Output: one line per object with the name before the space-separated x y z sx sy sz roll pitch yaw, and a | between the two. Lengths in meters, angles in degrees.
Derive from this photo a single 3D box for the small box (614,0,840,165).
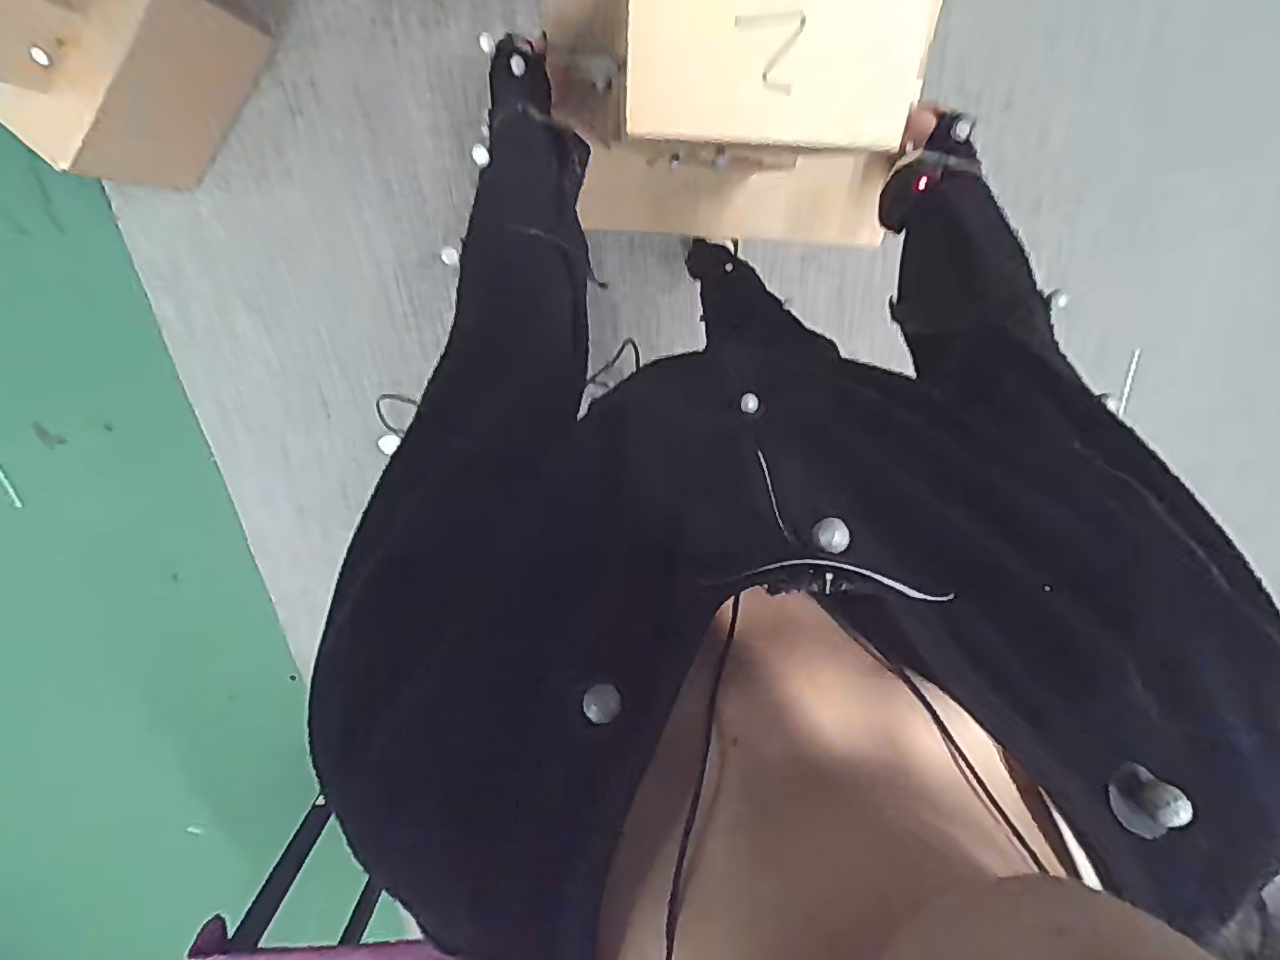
small box | 0.067 -0.398 0.488 0.168 0.176 0.179 6 119 -6

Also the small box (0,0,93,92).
small box | -1.038 -0.756 0.838 0.168 0.176 0.179 -38 107 16
